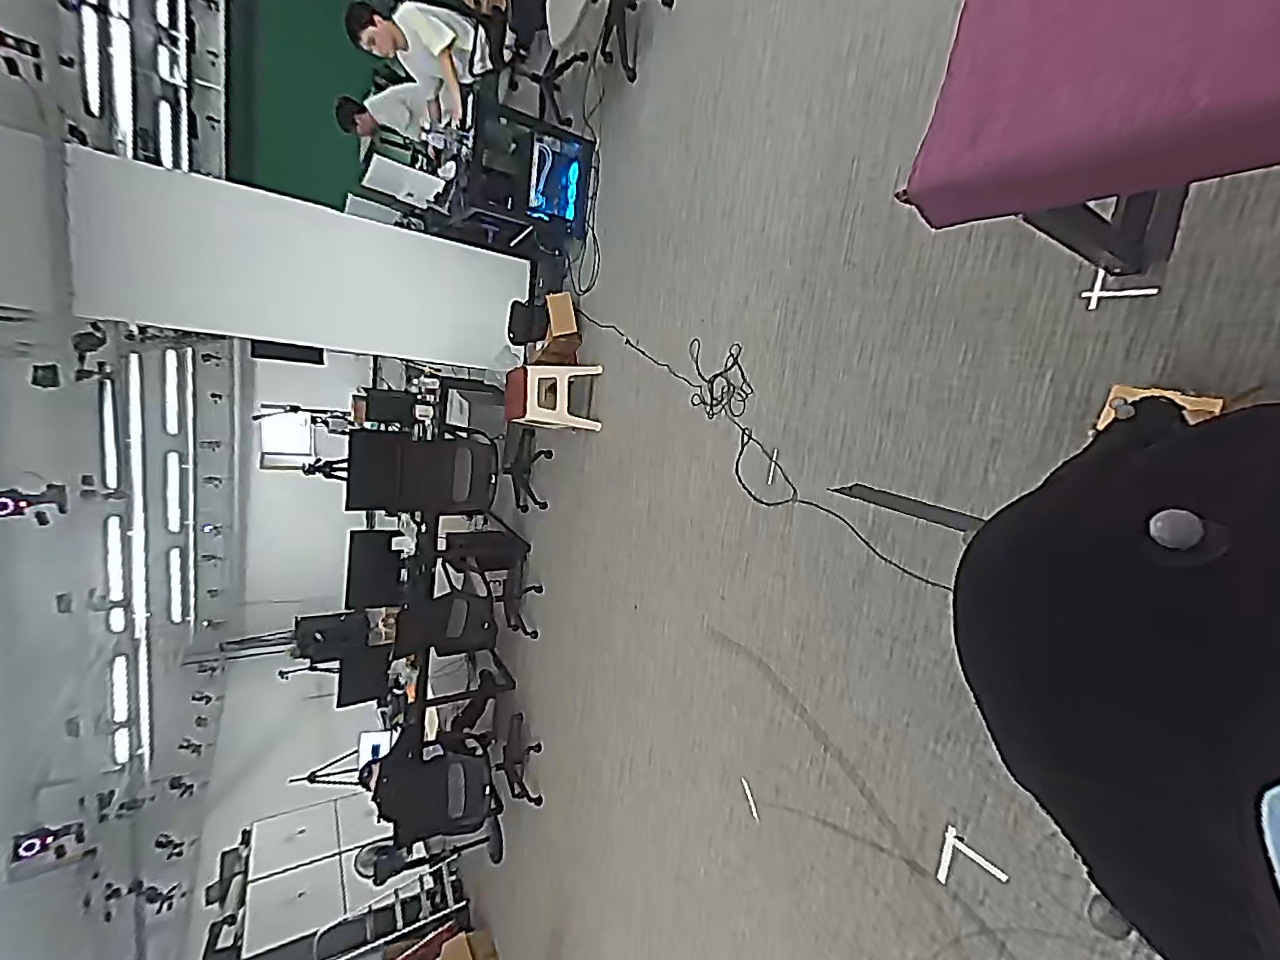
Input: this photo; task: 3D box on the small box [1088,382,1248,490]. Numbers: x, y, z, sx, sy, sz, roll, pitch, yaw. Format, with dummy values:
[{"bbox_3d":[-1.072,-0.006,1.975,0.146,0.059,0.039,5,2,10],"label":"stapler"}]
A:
[{"bbox_3d":[1.054,-0.087,1.080,0.168,0.176,0.179,32,116,53],"label":"small box"}]
